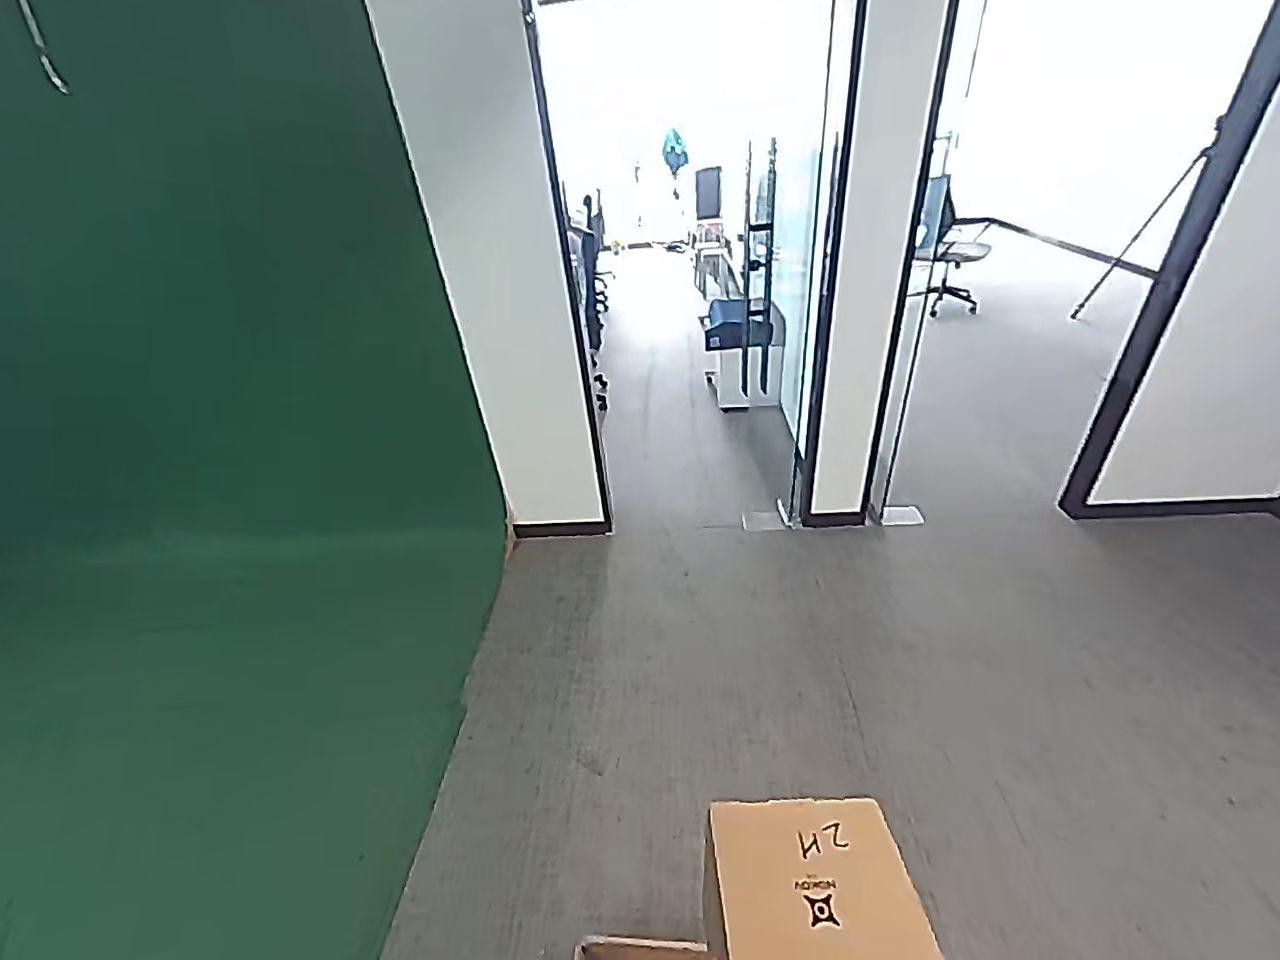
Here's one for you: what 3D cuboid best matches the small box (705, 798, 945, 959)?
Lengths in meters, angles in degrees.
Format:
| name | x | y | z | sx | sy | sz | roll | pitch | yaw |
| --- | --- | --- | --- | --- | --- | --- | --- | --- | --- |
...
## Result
| name | x | y | z | sx | sy | sz | roll | pitch | yaw |
| --- | --- | --- | --- | --- | --- | --- | --- | --- | --- |
| small box | 0.149 | 0.415 | 0.475 | 0.168 | 0.176 | 0.179 | -1 | 26 | 0 |
